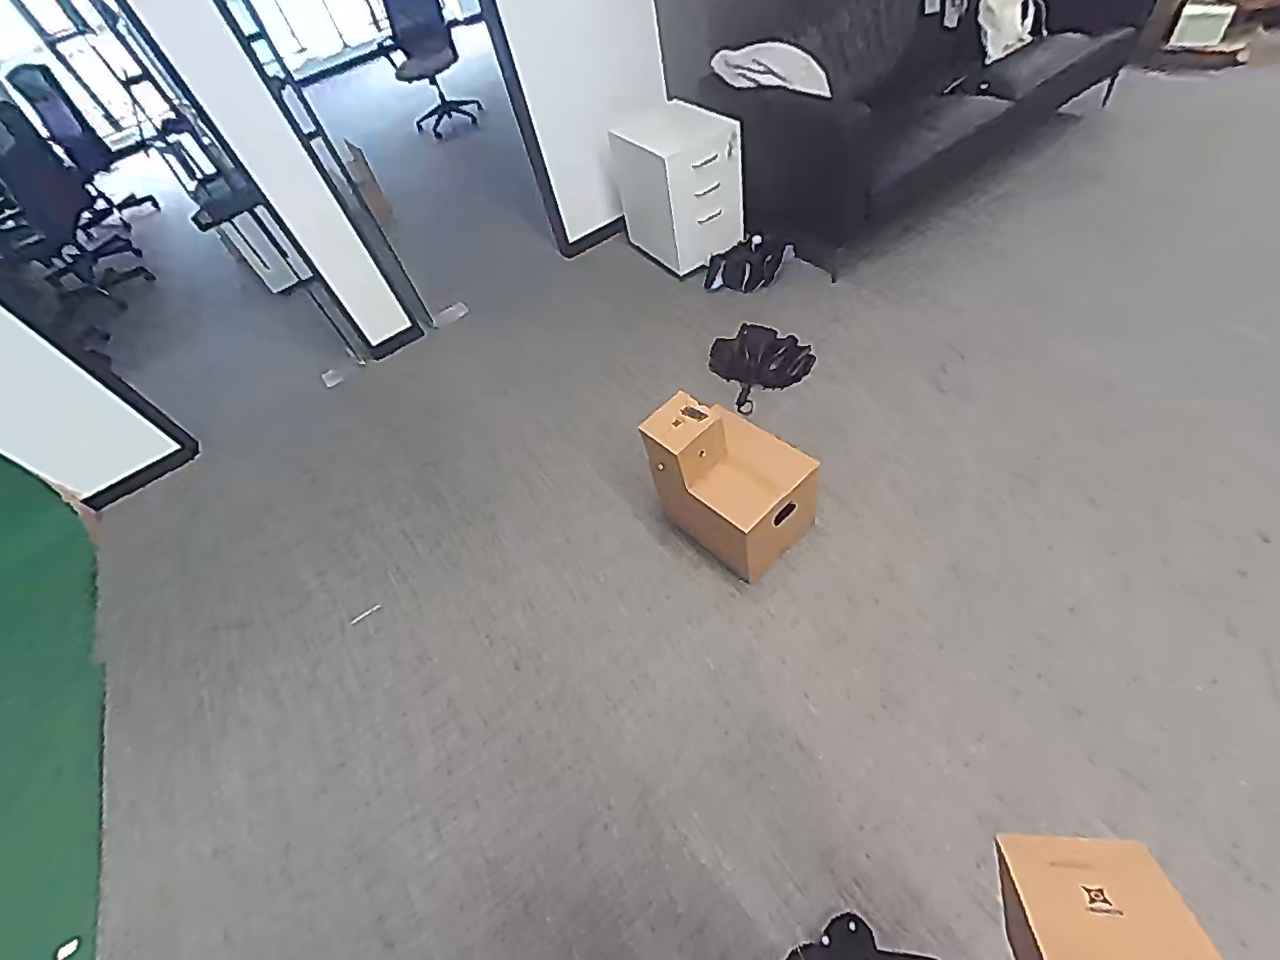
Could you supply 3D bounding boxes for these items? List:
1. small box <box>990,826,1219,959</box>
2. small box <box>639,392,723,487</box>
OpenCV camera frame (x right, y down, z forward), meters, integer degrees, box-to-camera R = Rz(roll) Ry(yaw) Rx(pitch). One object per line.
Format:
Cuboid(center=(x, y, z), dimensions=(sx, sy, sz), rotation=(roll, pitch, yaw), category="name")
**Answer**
Cuboid(center=(0.545, 0.560, 0.646), dimensions=(0.168, 0.176, 0.179), rotation=(-8, 9, 18), category="small box")
Cuboid(center=(0.126, -0.116, 1.566), dimensions=(0.179, 0.176, 0.168), rotation=(-41, 54, -13), category="small box")
